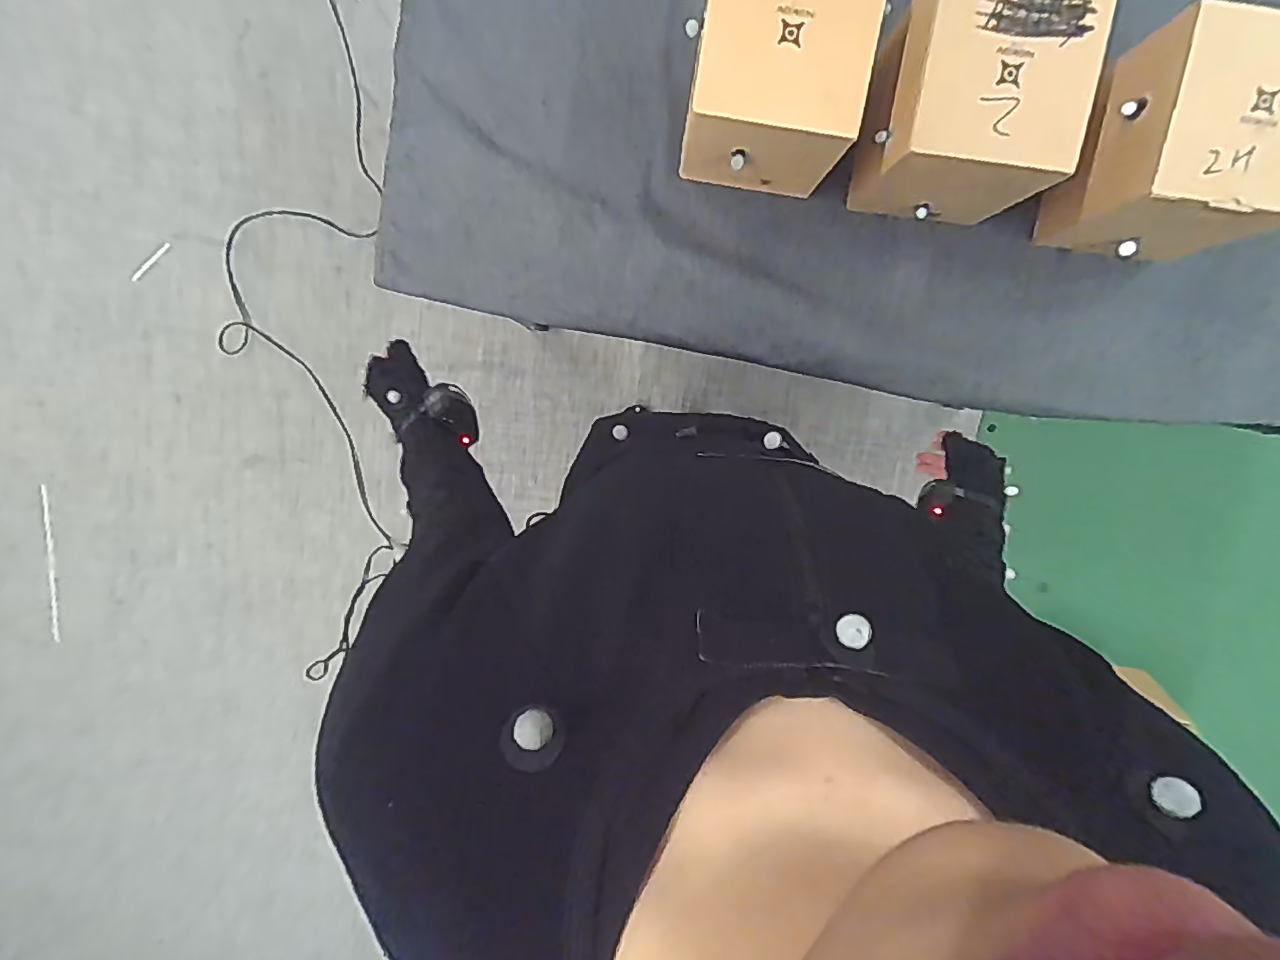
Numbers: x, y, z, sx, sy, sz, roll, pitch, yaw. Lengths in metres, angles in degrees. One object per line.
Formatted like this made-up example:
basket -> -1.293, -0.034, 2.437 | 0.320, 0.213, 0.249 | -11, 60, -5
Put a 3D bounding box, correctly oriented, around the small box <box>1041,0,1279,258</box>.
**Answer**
small box -> 0.589, -0.365, 0.591 | 0.168, 0.176, 0.179 | 8, 99, 0
